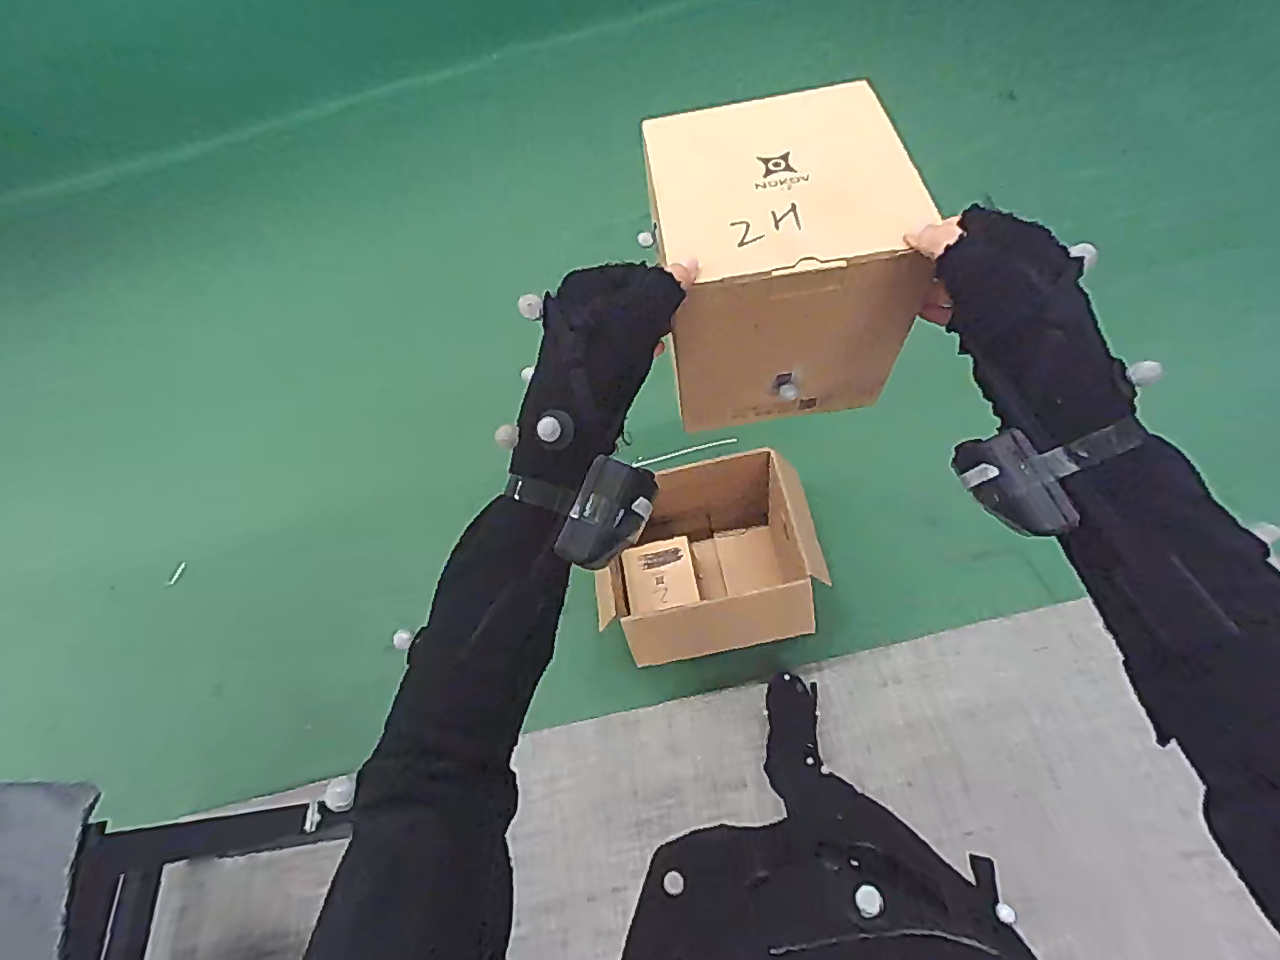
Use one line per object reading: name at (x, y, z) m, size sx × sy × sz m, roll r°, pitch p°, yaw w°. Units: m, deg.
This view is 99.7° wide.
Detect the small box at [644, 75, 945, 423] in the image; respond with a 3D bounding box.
small box at (0.097, -0.169, 0.423) m, size 0.168 × 0.176 × 0.179 m, roll -8°, pitch 62°, yaw 4°
